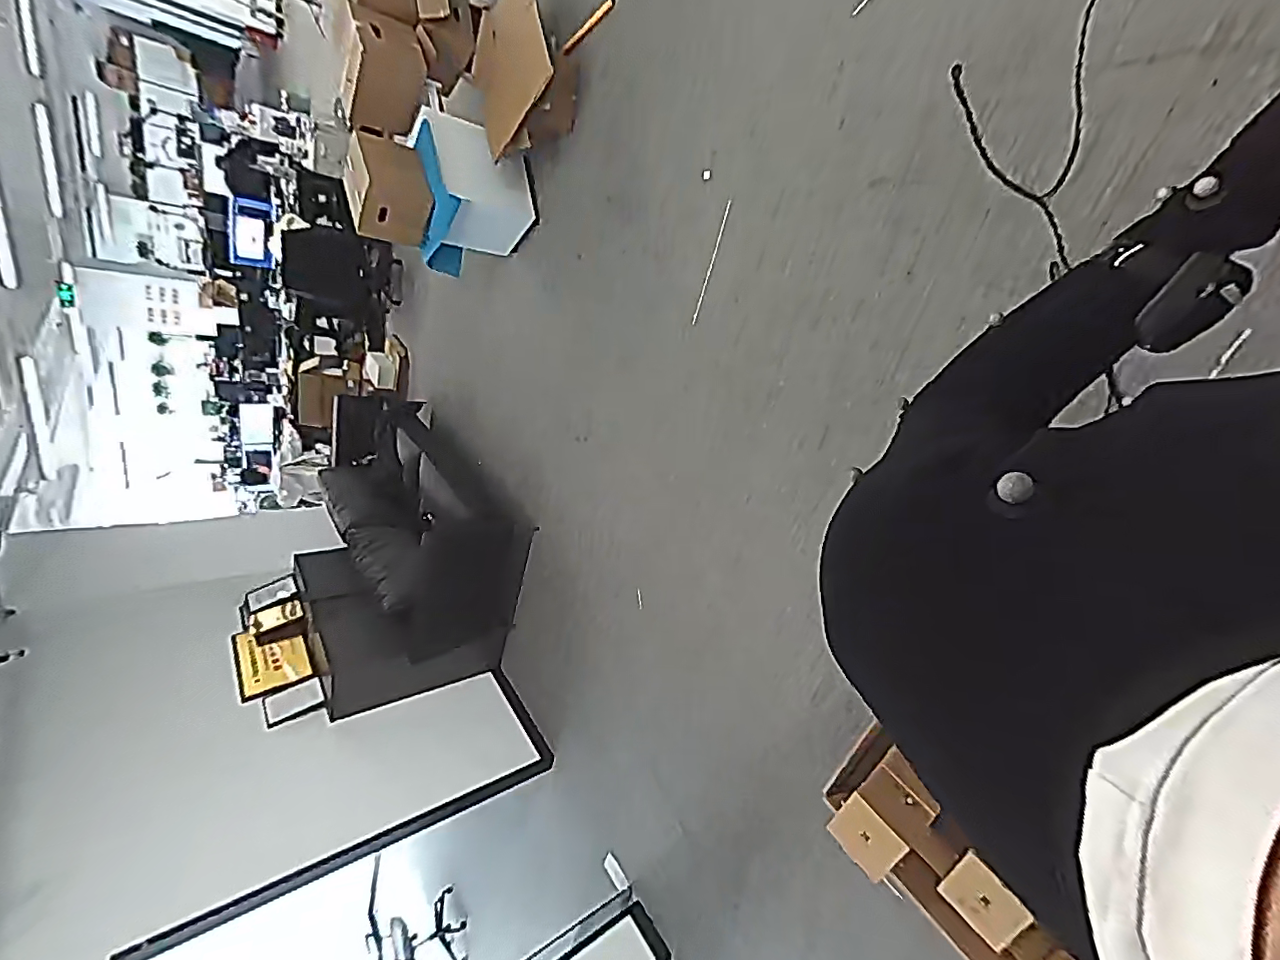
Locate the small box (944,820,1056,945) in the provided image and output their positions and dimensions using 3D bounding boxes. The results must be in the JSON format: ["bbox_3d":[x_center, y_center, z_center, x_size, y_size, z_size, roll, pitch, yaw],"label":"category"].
[{"bbox_3d":[0.940,1.035,1.406,0.168,0.176,0.179,40,123,41],"label":"small box"}]

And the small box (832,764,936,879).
[{"bbox_3d":[0.666,0.919,1.469,0.168,0.176,0.179,41,123,37],"label":"small box"}]

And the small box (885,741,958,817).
[{"bbox_3d":[0.790,0.903,1.574,0.168,0.176,0.179,40,123,40],"label":"small box"}]
